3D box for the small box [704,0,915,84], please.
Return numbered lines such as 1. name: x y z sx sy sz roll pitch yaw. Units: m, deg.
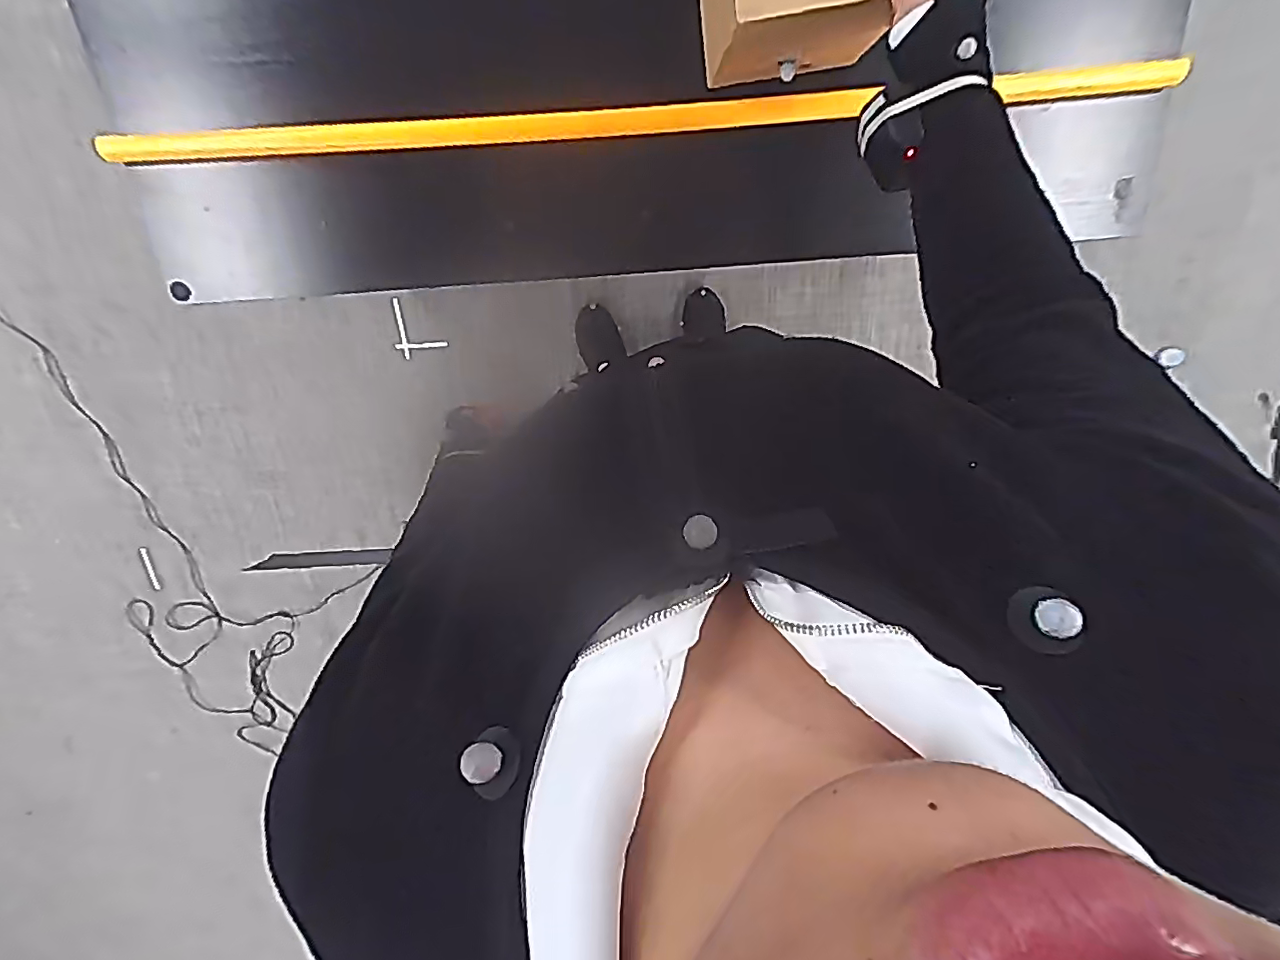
1. small box: 0.149 -0.511 0.505 0.168 0.176 0.179 -8 110 2
